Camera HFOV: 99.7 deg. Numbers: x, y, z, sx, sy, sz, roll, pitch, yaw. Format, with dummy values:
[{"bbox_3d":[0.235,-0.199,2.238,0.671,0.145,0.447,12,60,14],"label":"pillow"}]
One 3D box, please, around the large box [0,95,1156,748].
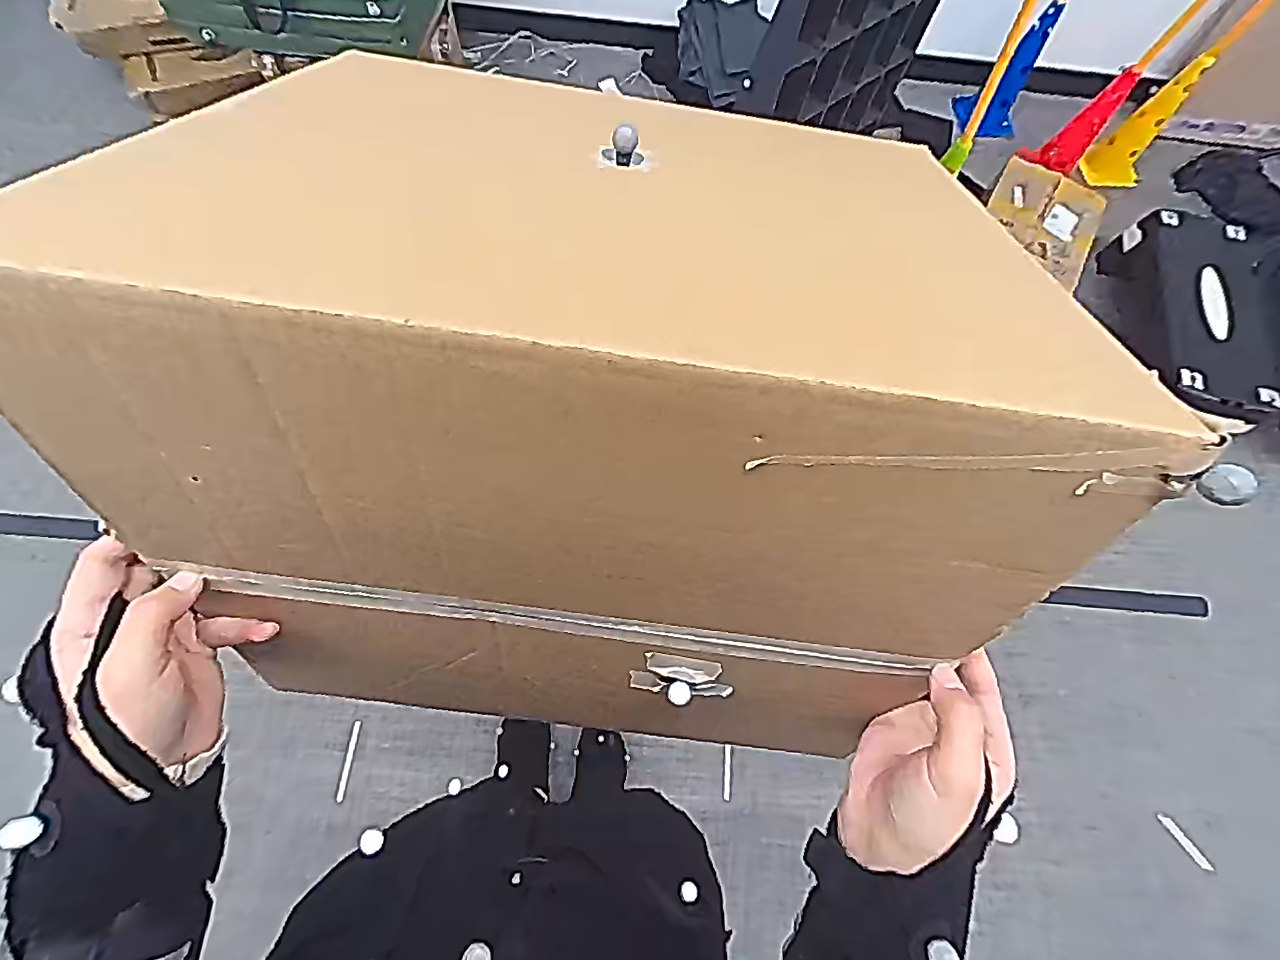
[{"bbox_3d":[-0.030,-0.039,0.384,0.408,0.320,0.320,7,47,-2],"label":"large box"}]
